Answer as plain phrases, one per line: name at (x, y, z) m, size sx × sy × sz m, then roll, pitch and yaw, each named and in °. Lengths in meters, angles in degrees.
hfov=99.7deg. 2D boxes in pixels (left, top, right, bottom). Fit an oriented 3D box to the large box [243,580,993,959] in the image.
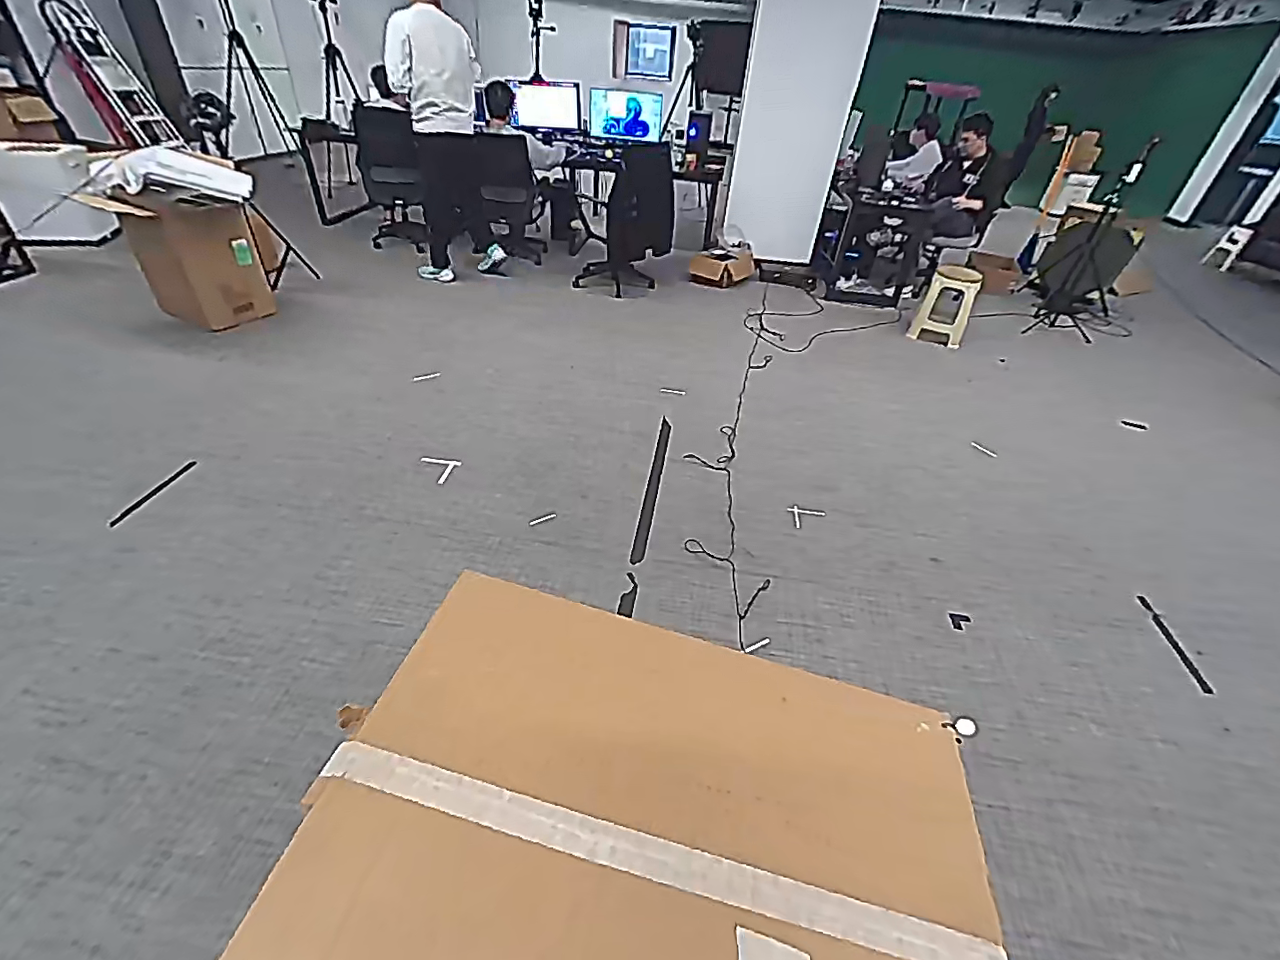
large box at (-0.011, 0.338, 0.423) m, size 0.408 × 0.320 × 0.320 m, roll 17°, pitch 41°, yaw 3°
